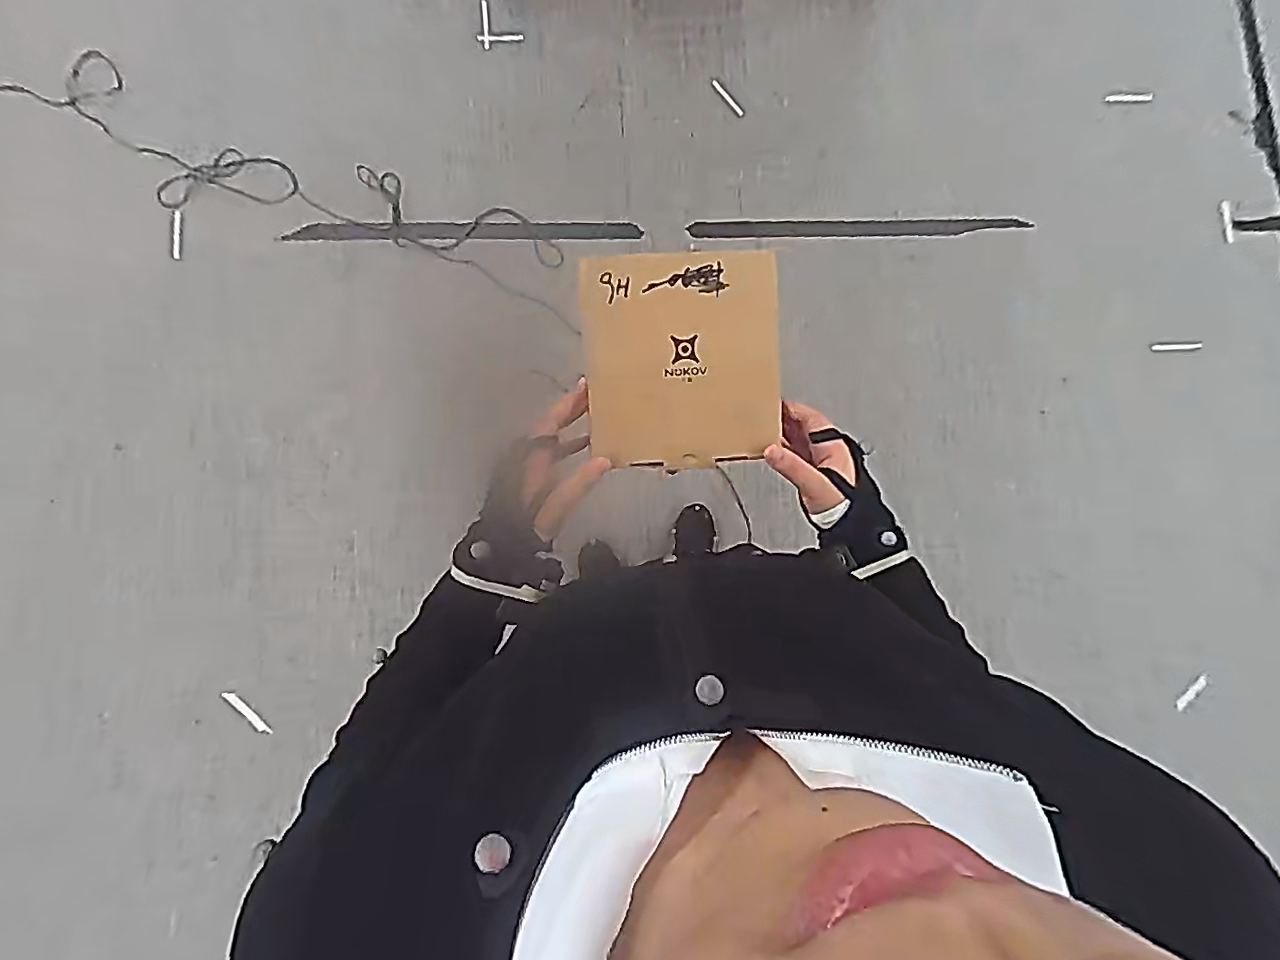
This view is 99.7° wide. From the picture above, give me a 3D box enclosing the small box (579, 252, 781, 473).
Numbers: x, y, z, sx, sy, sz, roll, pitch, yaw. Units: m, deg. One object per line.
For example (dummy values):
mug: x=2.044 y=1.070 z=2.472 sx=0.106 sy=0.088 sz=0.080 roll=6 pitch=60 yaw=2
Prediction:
small box: x=0.030 y=-0.107 z=0.527 sx=0.168 sy=0.176 sz=0.179 roll=-4 pitch=97 yaw=-5
